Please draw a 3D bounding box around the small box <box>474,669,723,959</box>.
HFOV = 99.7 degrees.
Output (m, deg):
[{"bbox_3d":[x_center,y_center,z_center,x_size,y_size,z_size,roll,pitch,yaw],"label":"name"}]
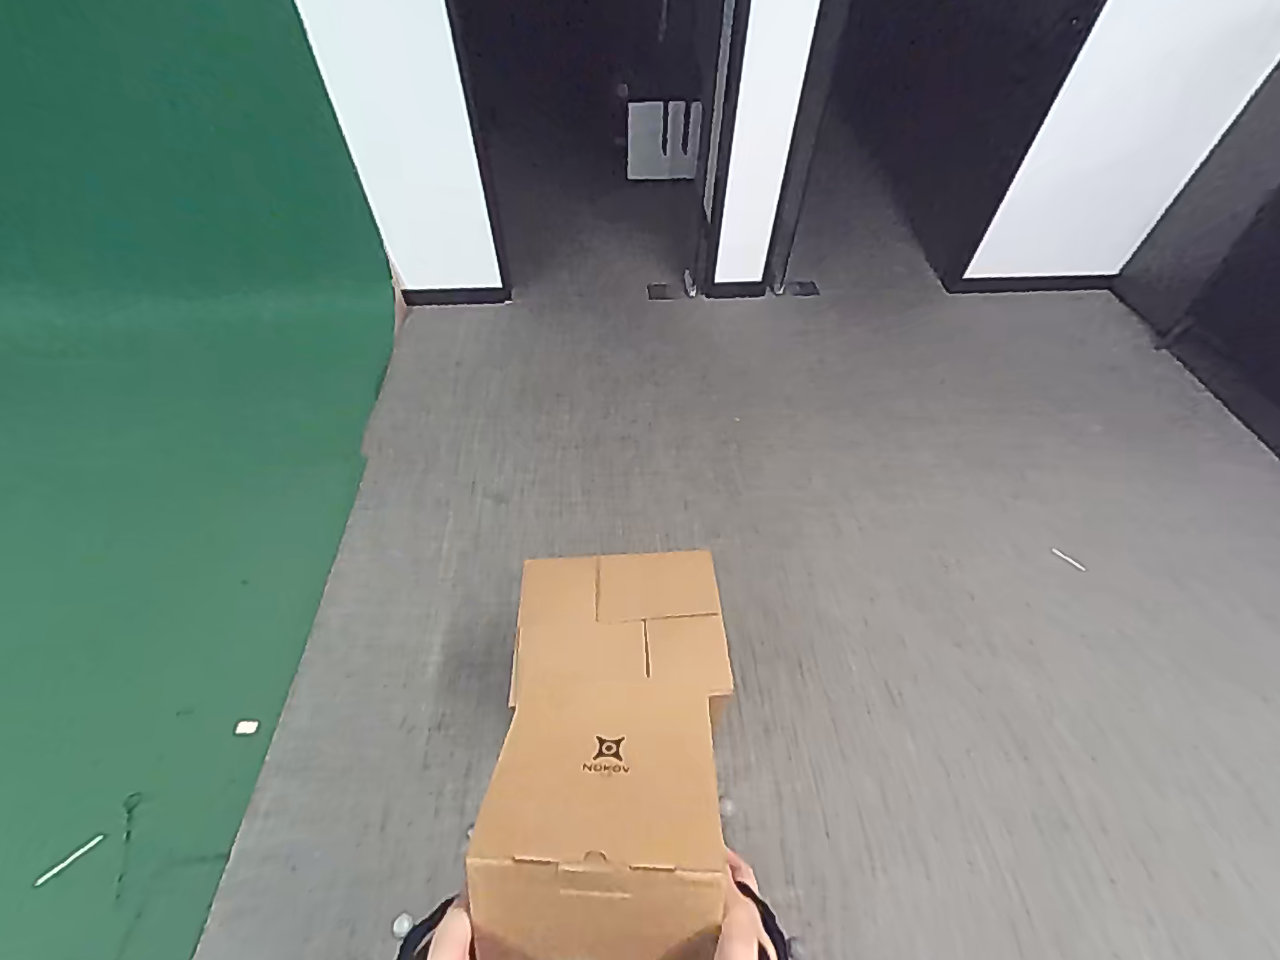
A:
[{"bbox_3d":[-0.027,0.287,0.449,0.168,0.176,0.179,3,20,2],"label":"small box"}]
